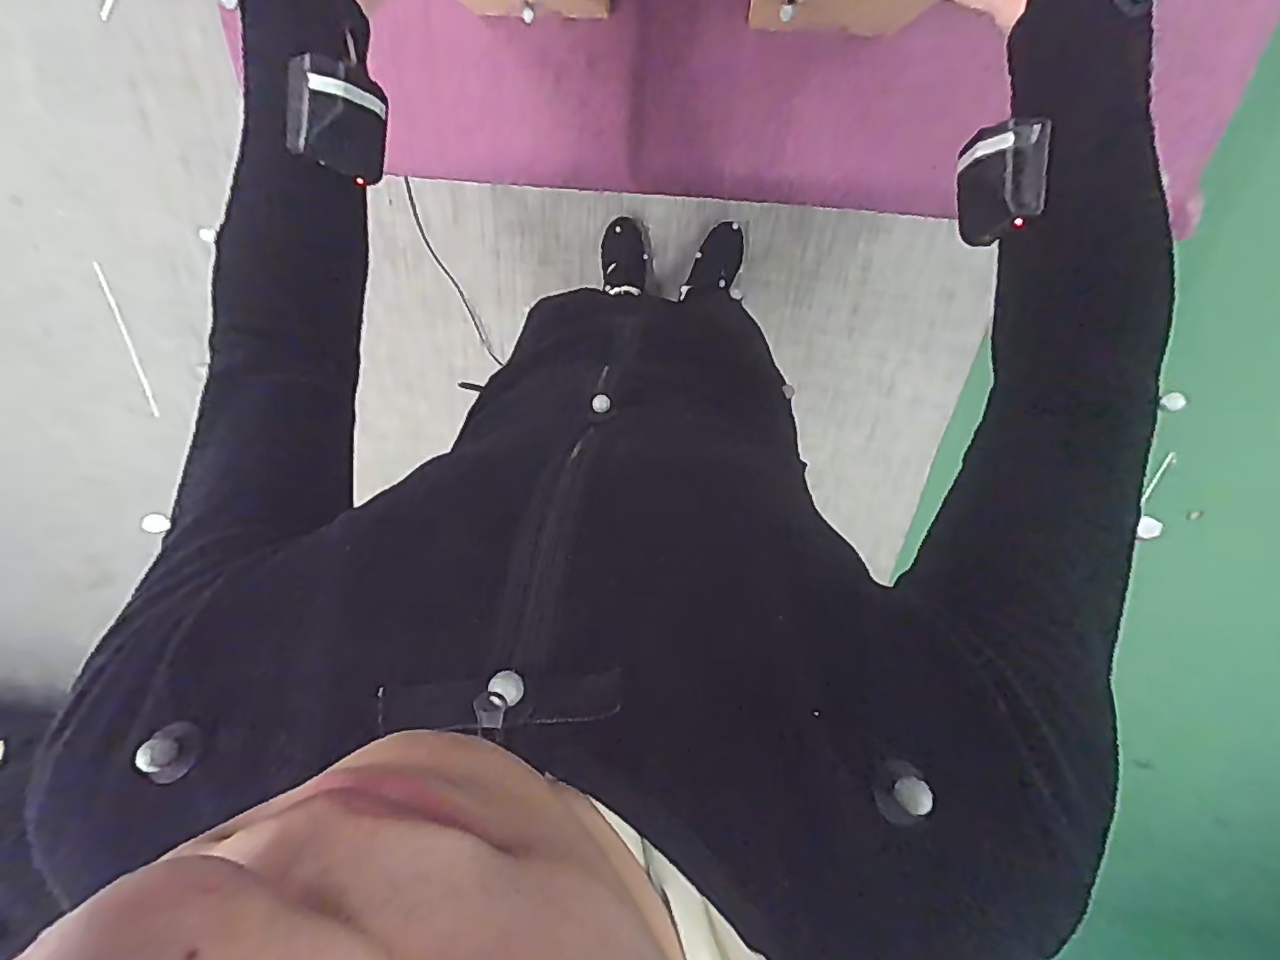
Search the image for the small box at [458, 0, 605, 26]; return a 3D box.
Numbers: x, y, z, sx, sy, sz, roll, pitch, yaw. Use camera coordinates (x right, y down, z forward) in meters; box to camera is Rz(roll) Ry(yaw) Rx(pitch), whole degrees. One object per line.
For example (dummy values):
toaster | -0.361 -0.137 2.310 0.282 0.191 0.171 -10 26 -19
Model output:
small box | -0.123 -0.577 0.523 0.168 0.176 0.179 4 119 3
